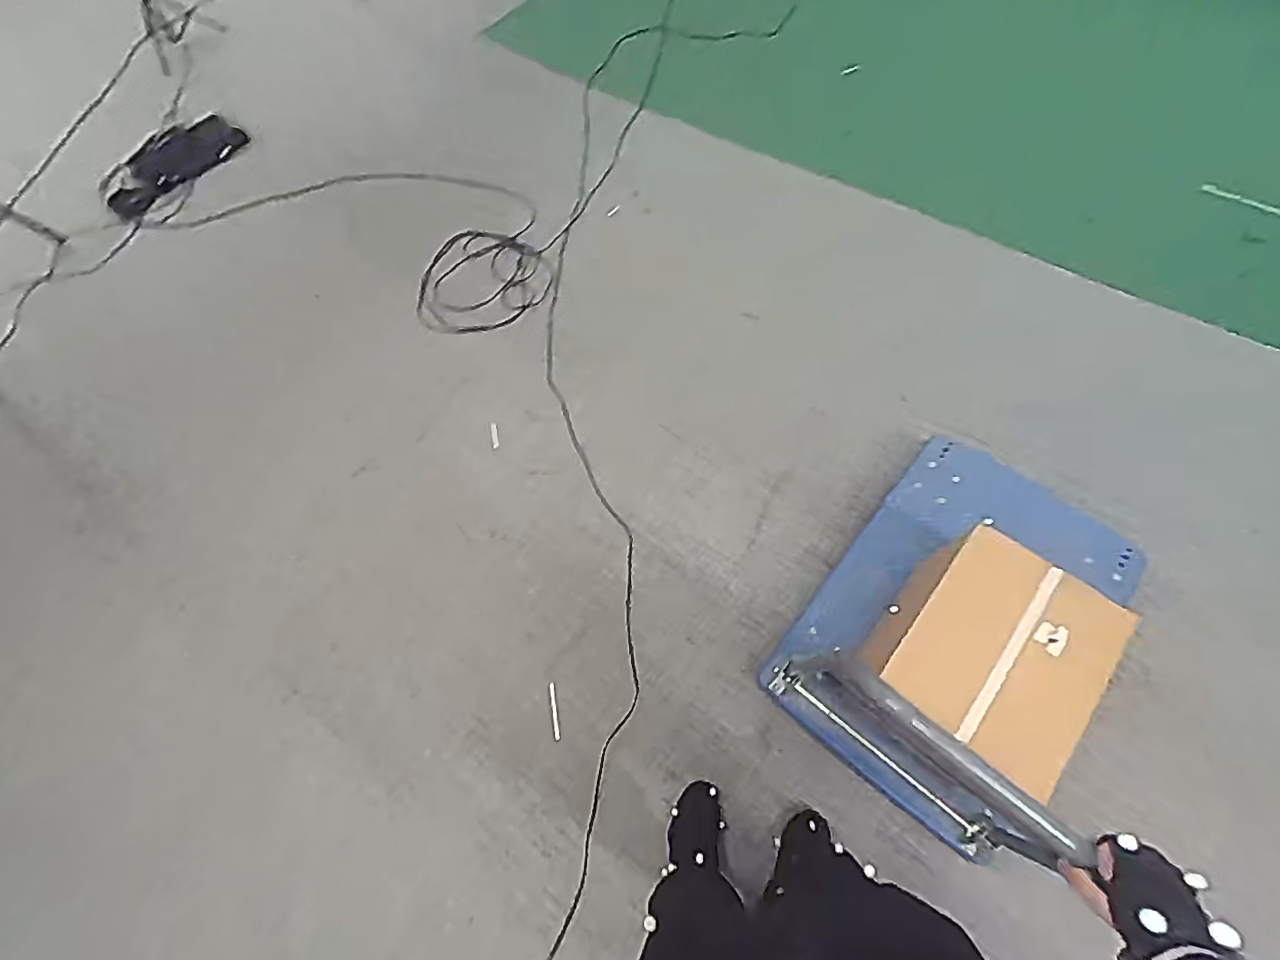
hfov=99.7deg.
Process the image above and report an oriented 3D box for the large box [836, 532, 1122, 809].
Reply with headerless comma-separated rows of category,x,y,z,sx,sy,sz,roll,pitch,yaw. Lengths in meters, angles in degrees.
large box,0.680,0.396,1.141,0.320,0.320,0.408,36,72,18
